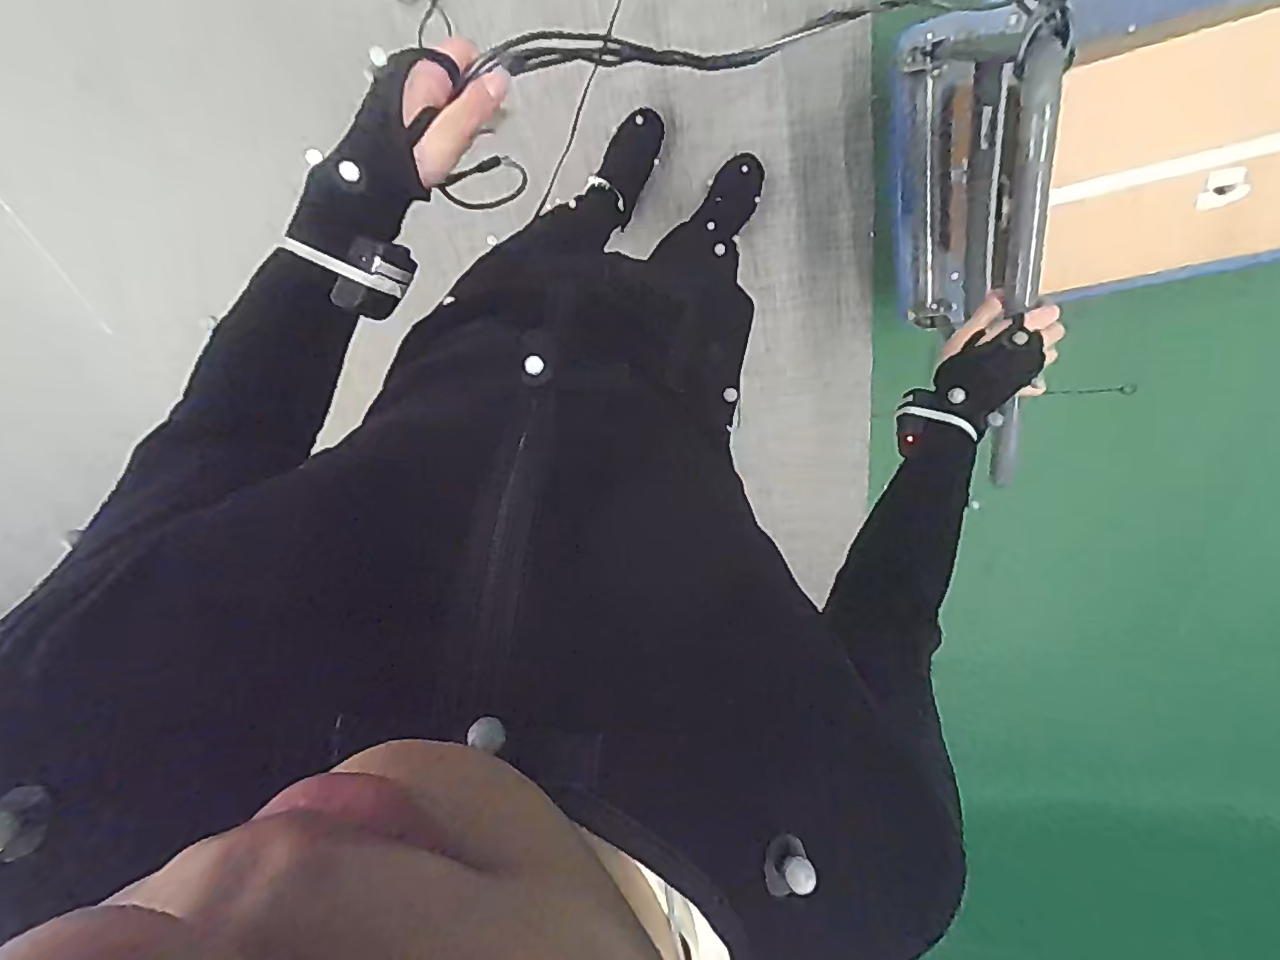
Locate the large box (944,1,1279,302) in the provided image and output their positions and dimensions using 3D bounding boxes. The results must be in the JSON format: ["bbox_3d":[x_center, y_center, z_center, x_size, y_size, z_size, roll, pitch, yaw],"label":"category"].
[{"bbox_3d":[0.772,-0.536,0.904,0.408,0.320,0.320,-8,124,16],"label":"large box"}]
